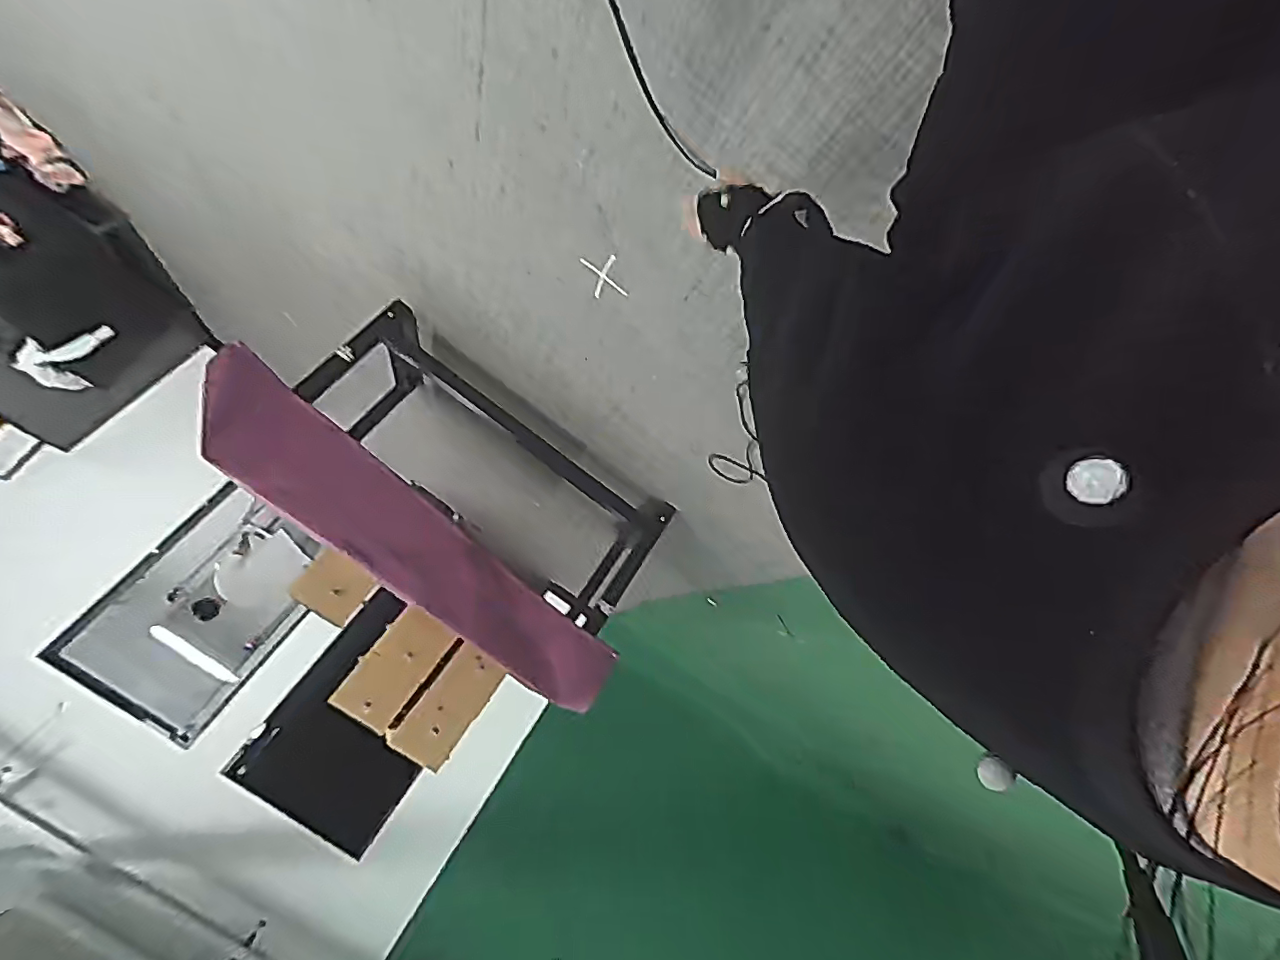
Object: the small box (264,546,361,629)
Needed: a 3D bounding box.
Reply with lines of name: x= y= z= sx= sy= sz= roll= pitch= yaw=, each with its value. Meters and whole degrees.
small box: x=-0.942 y=0.312 z=1.576 sx=0.179 sy=0.176 sz=0.168 roll=41 pitch=154 yaw=-13
